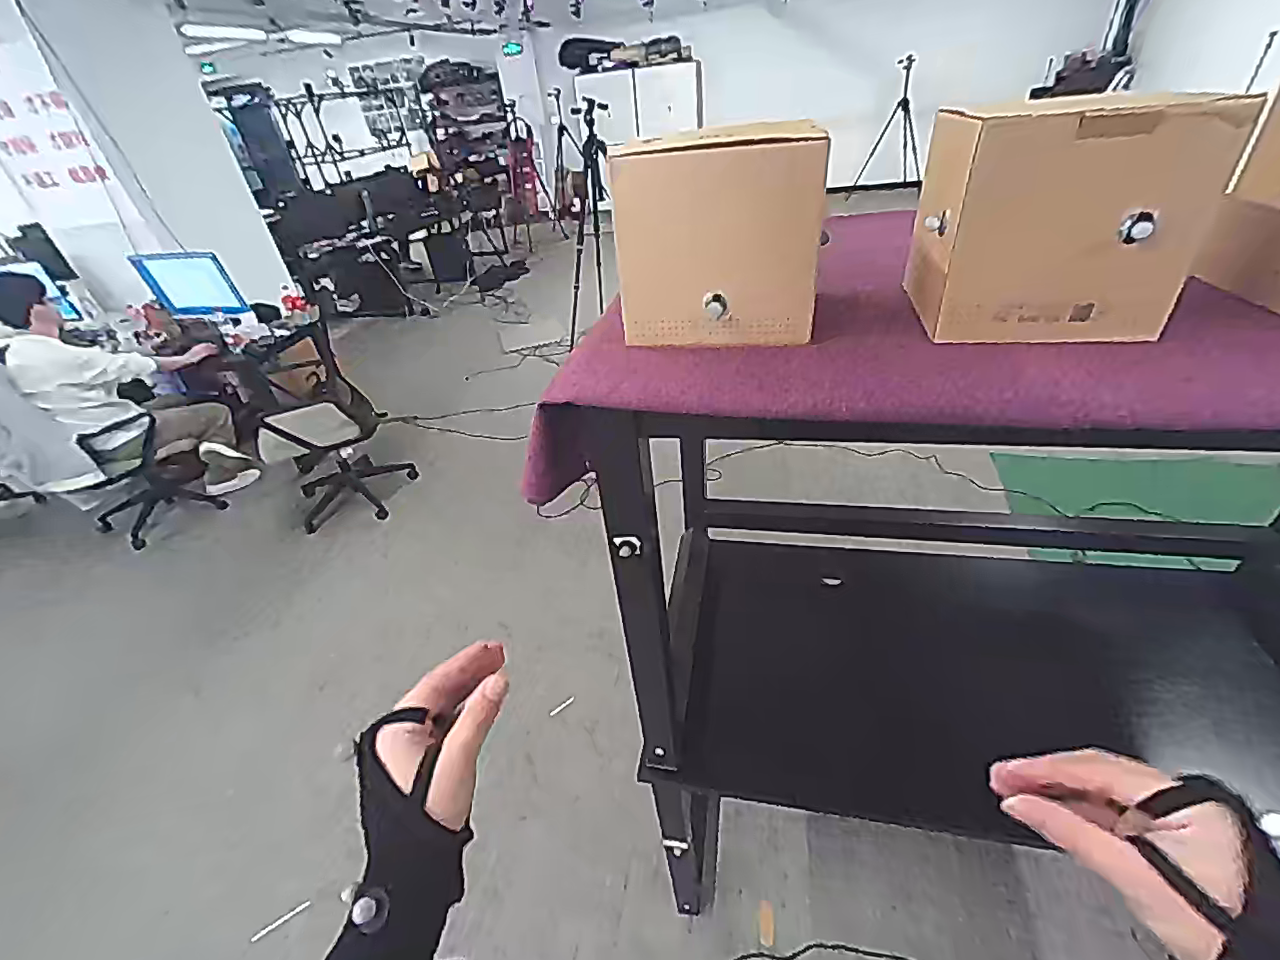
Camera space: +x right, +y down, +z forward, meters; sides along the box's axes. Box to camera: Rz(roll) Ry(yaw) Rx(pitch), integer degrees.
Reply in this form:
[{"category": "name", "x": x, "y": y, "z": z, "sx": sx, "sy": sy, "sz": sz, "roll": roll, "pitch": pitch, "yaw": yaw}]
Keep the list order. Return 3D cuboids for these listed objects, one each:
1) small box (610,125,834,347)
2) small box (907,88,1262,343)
[{"category": "small box", "x": 0.079, "y": -0.237, "z": 0.530, "sx": 0.179, "sy": 0.176, "sz": 0.168, "roll": 2, "pitch": 35, "yaw": 10}, {"category": "small box", "x": 0.346, "y": -0.227, "z": 0.472, "sx": 0.168, "sy": 0.176, "sz": 0.179, "roll": 4, "pitch": 35, "yaw": 14}]
